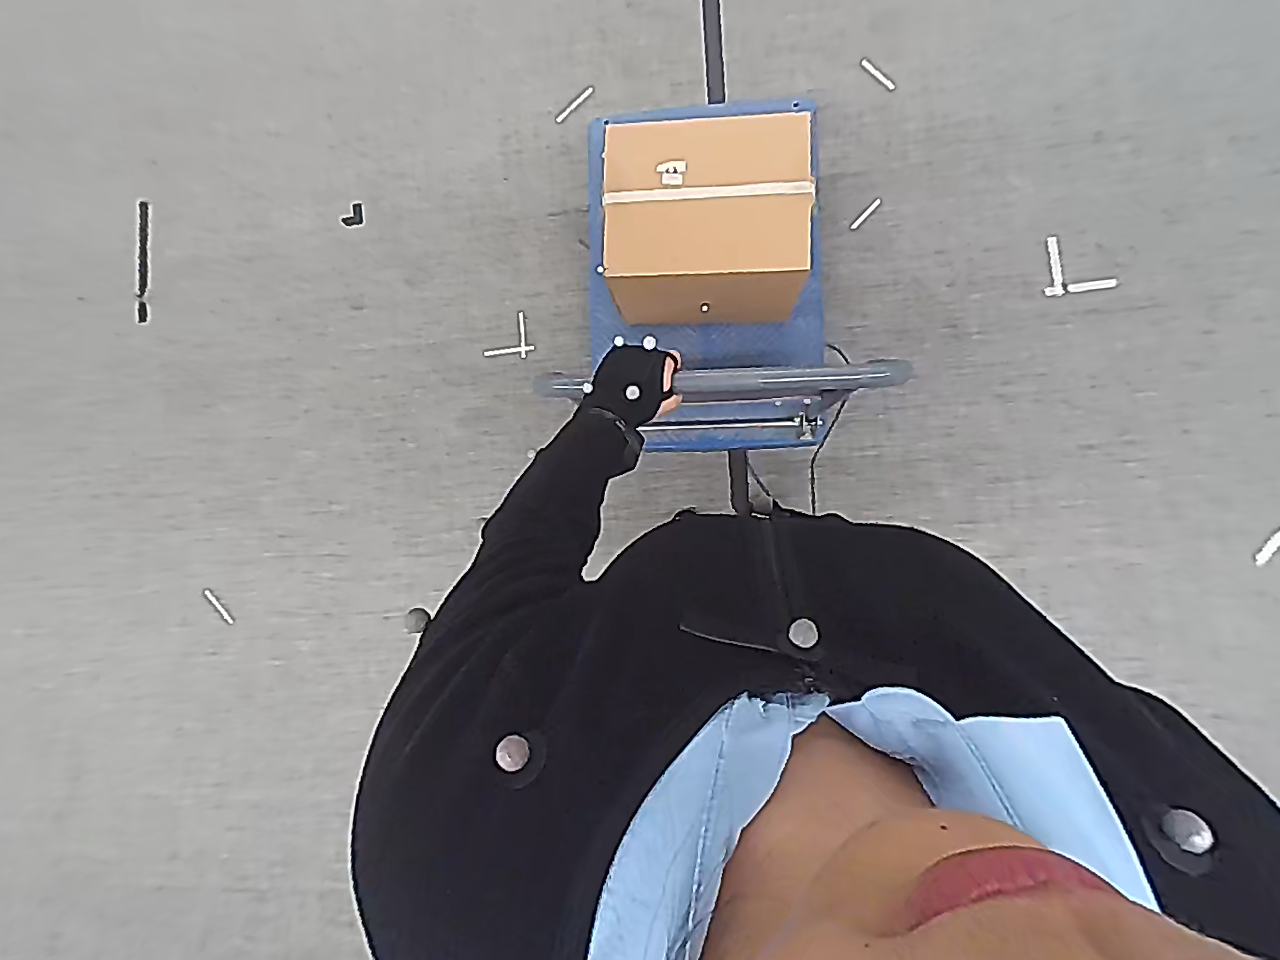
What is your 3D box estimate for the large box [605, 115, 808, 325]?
[{"bbox_3d":[0.149,-0.554,1.221,0.408,0.320,0.320,0,87,8],"label":"large box"}]
